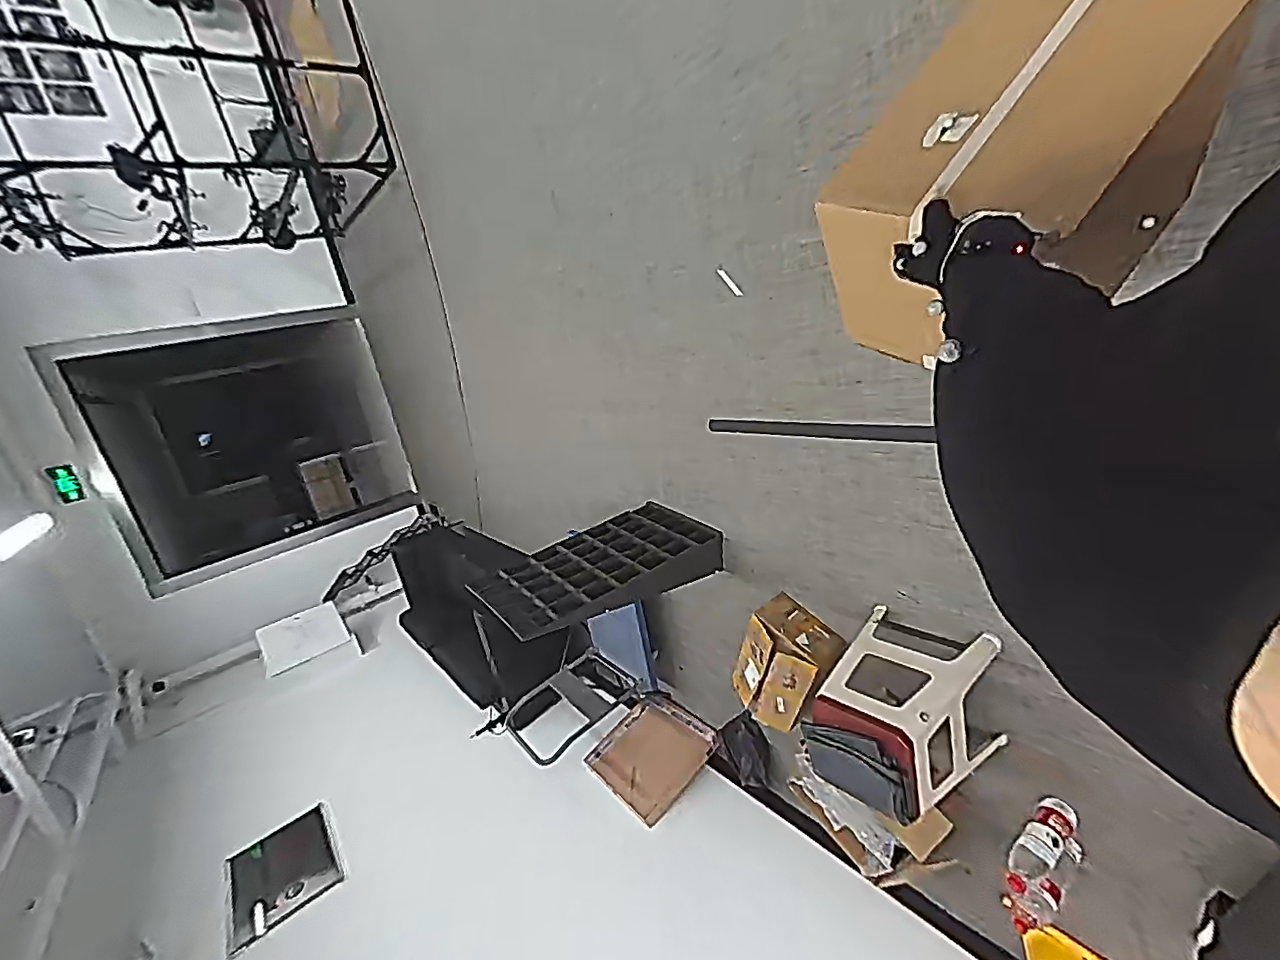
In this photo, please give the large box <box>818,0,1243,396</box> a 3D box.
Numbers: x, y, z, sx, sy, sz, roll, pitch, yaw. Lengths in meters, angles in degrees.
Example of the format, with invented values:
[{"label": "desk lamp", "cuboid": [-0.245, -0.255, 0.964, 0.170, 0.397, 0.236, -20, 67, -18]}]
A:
[{"label": "large box", "cuboid": [0.536, -0.407, 0.798, 0.320, 0.408, 0.320, 36, 176, 40]}]
